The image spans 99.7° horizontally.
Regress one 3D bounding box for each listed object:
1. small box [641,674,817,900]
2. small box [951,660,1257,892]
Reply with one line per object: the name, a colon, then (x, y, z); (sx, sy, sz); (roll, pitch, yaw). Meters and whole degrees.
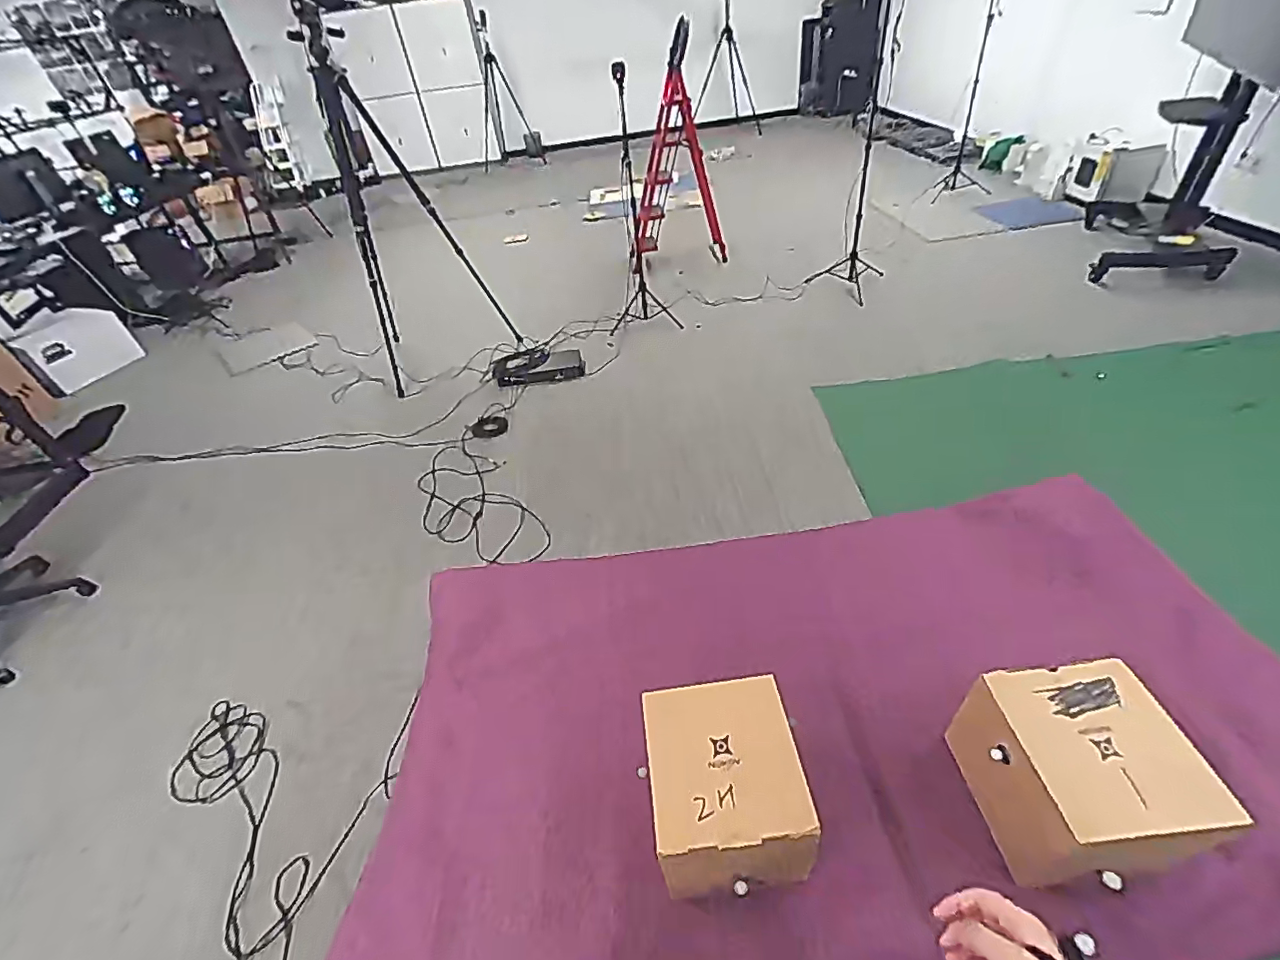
small box: (0.095, 0.362, 0.643); (0.168, 0.176, 0.179); (-9, 39, 1)
small box: (0.488, 0.332, 0.612); (0.168, 0.176, 0.179); (-8, 41, 2)
